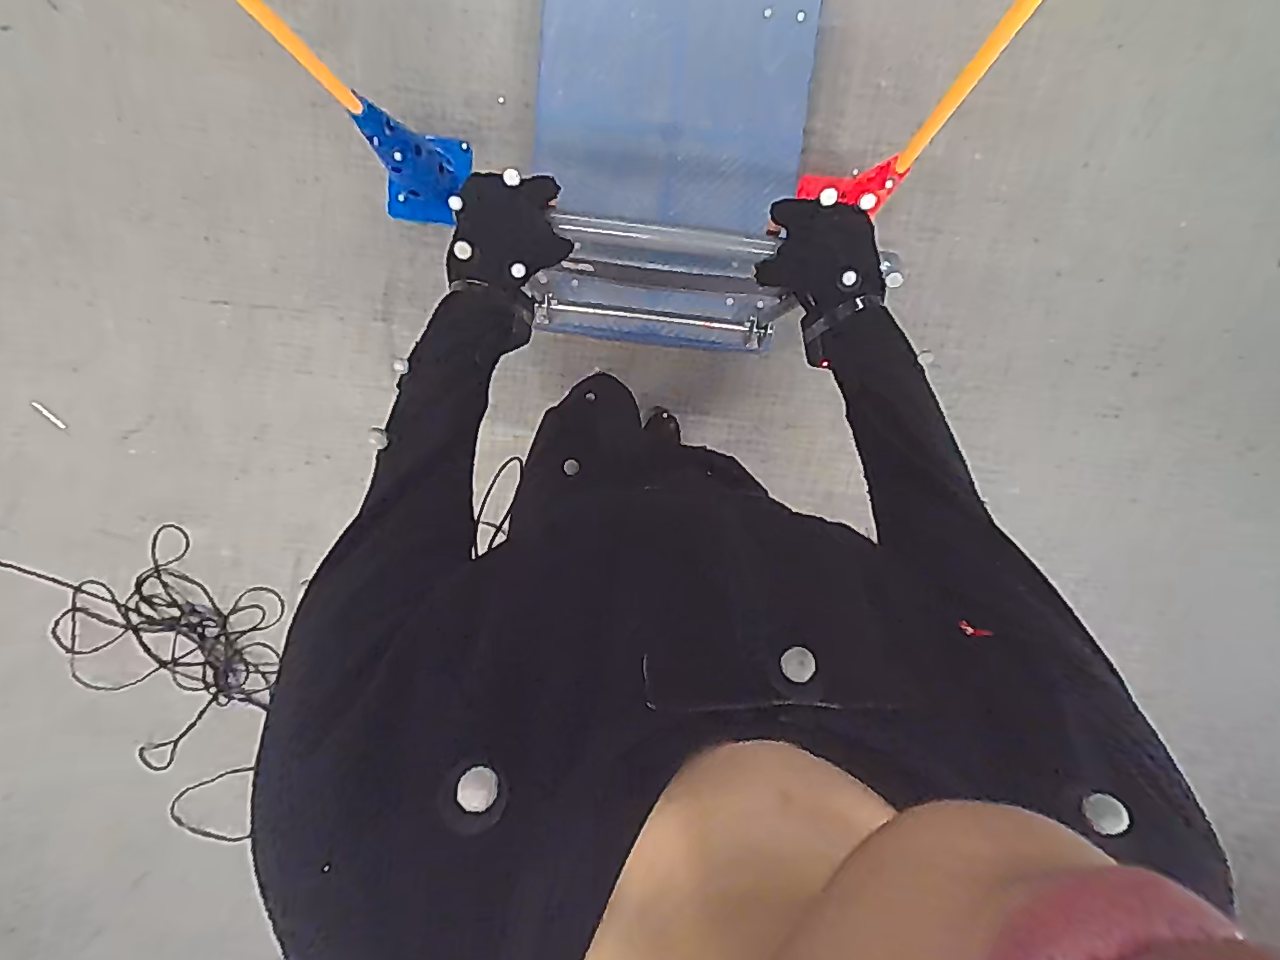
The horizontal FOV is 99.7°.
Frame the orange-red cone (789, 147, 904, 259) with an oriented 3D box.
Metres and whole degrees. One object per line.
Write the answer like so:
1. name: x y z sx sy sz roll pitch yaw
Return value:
1. orange-red cone: 0.482 -0.639 1.196 0.199 0.360 0.198 6 99 0
